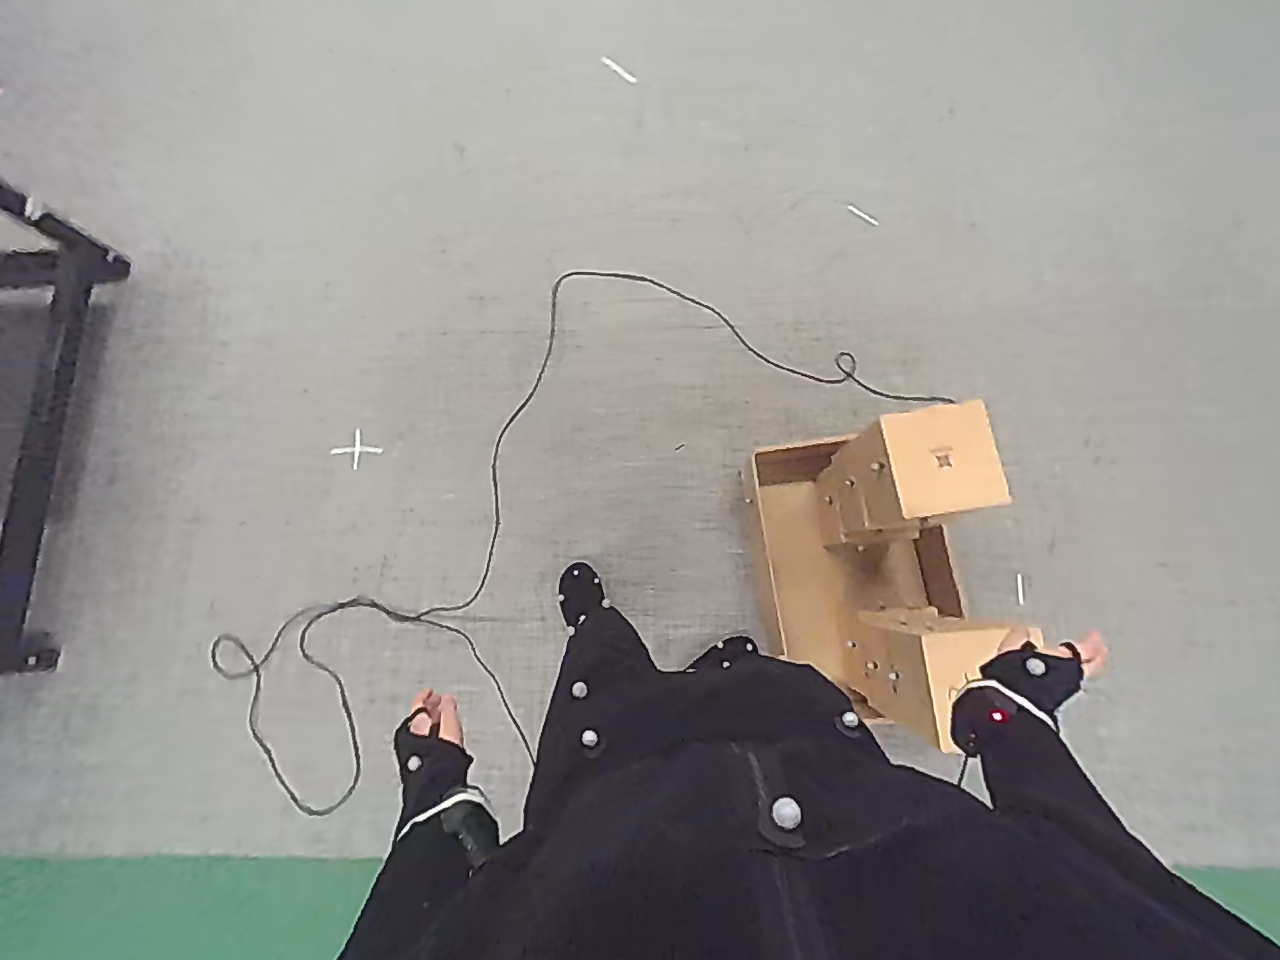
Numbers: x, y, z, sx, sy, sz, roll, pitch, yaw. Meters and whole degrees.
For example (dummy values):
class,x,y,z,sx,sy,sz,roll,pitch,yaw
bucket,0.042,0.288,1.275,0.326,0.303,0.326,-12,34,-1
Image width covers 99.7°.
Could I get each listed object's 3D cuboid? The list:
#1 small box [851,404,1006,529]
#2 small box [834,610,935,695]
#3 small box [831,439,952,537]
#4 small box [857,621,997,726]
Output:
class,x,y,z,sx,sy,sz,roll,pitch,yaw
small box,0.485,-0.013,0.937,0.168,0.176,0.179,-8,77,4
small box,0.537,0.378,1.186,0.168,0.176,0.179,-3,78,3
small box,0.497,0.019,1.096,0.168,0.176,0.179,-3,79,4
small box,0.526,0.359,1.022,0.179,0.176,0.168,-3,79,2
